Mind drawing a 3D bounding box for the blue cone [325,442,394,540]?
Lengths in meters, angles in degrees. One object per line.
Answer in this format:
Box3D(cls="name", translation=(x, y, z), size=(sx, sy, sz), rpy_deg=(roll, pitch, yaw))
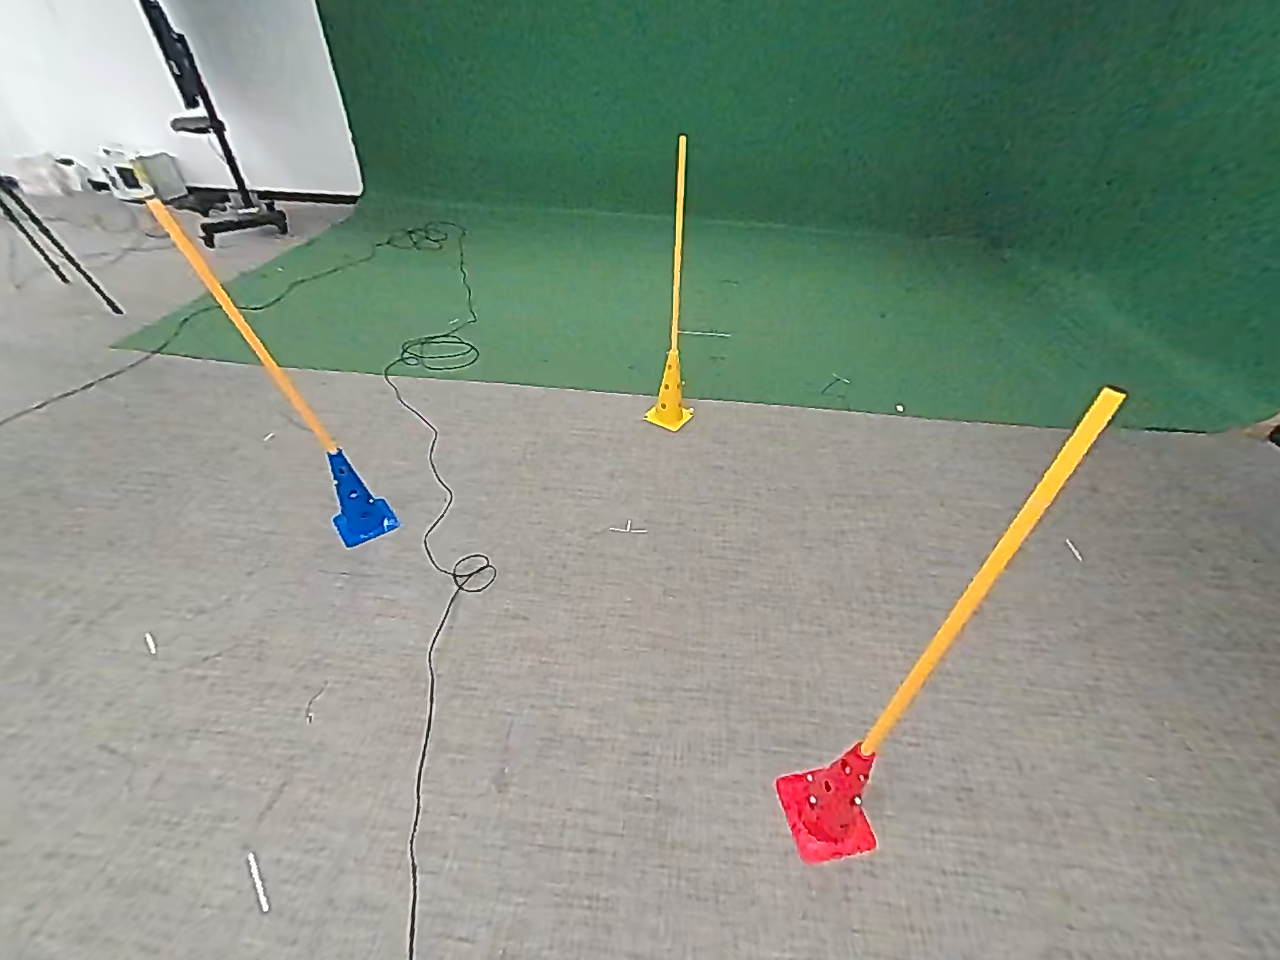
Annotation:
Box3D(cls="blue cone", translation=(-1.054, 0.022, 1.961), size=(0.193, 0.380, 0.192), rpy_deg=(-29, 51, -29))
